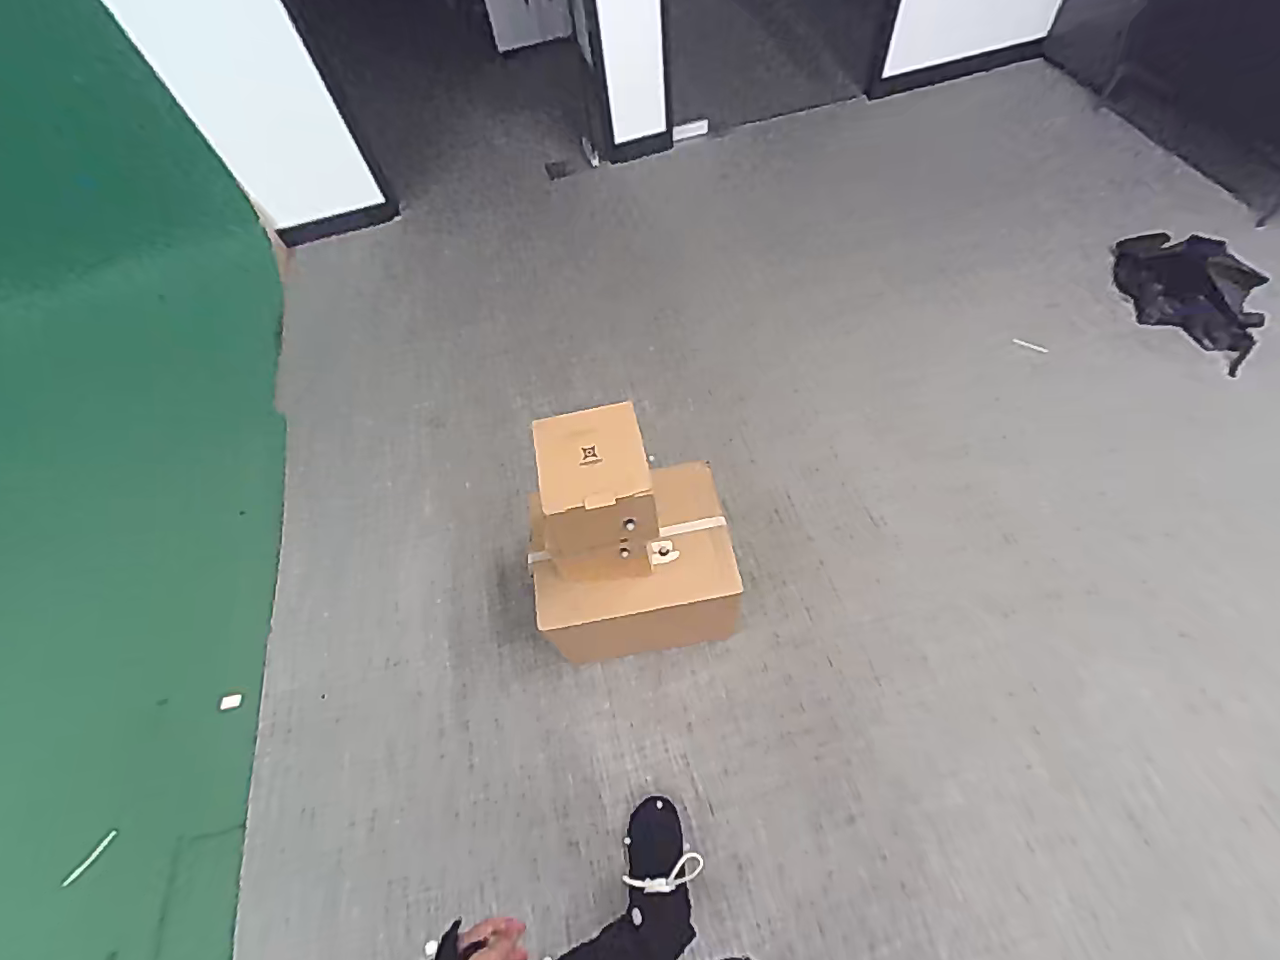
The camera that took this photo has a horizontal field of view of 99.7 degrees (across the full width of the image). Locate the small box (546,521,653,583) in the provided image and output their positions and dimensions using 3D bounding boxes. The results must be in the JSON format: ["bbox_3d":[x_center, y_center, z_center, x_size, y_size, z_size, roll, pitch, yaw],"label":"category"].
[{"bbox_3d":[-0.071,0.087,1.027,0.179,0.176,0.168,-6,59,2],"label":"small box"}]

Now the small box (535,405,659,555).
[{"bbox_3d":[-0.066,0.009,0.885,0.168,0.176,0.179,-12,57,-4],"label":"small box"}]

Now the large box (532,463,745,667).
[{"bbox_3d":[-0.008,0.204,1.235,0.408,0.320,0.320,-10,60,-2],"label":"large box"}]
